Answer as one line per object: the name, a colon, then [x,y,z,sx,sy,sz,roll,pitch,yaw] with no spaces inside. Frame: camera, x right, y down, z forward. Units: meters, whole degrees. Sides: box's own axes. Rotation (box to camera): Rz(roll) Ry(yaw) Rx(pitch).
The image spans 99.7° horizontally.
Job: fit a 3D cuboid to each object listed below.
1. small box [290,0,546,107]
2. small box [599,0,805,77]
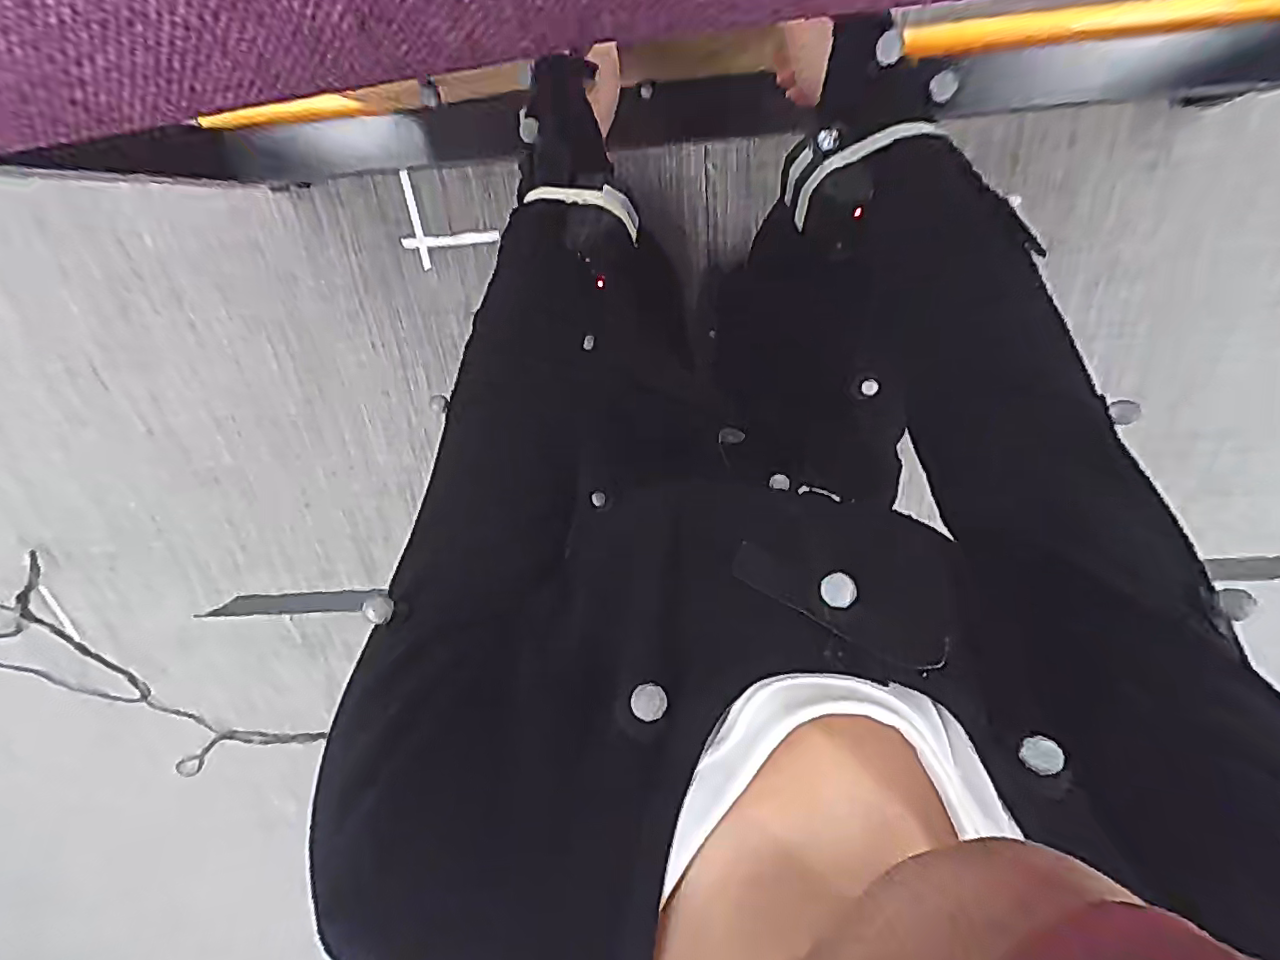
small box: [-0.185,-0.439,0.461,0.179,0.176,0.168,-7,117,5]
small box: [0.048,-0.459,0.443,0.168,0.176,0.179,-4,110,3]
